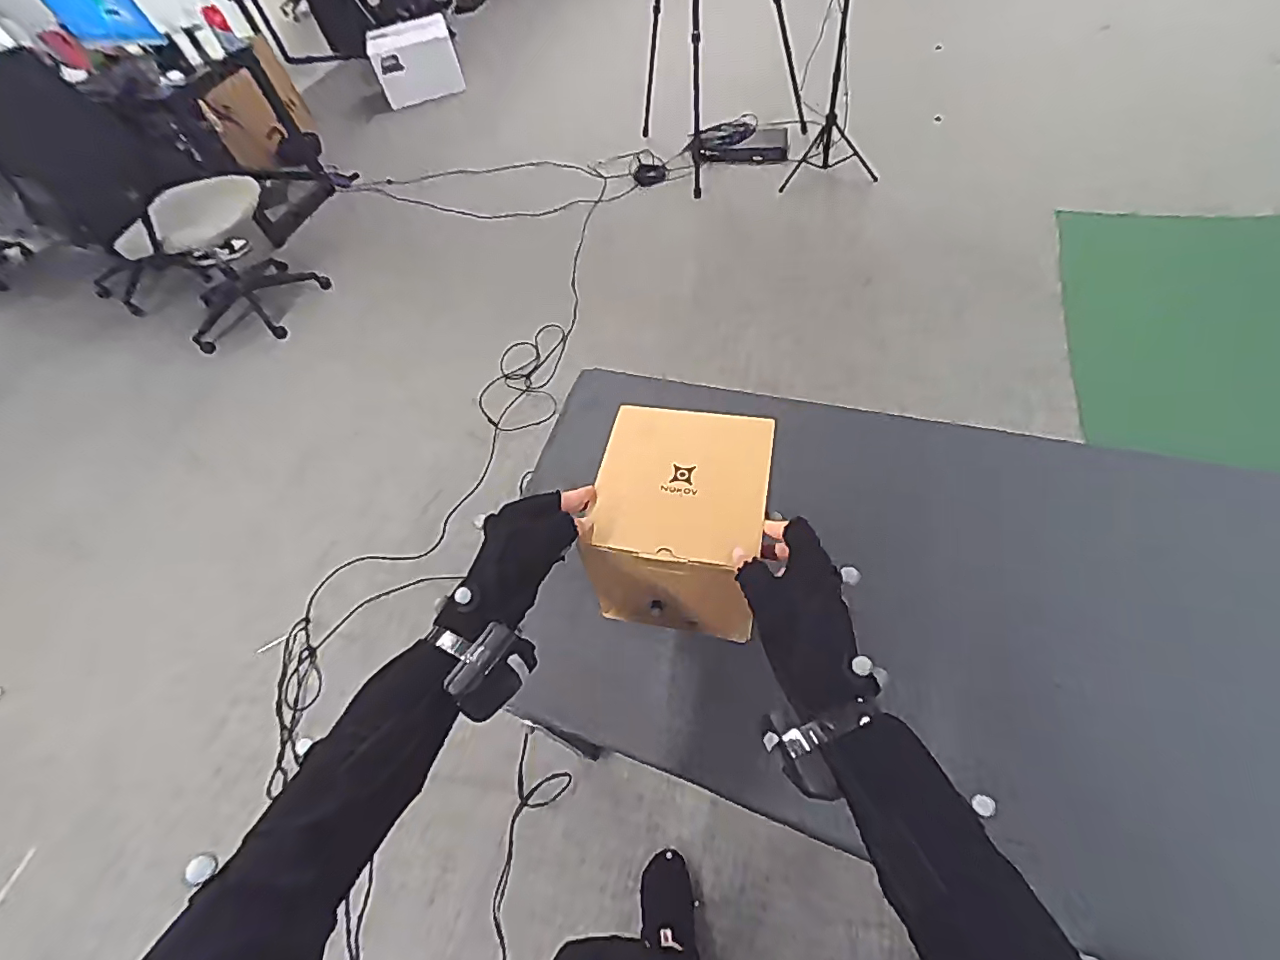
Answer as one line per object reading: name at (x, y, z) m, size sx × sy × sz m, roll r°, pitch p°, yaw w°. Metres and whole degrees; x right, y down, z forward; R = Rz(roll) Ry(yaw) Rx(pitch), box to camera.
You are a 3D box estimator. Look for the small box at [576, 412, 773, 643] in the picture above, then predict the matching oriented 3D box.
small box at (0.045, 0.053, 0.587) m, size 0.168 × 0.176 × 0.179 m, roll 8°, pitch 55°, yaw 12°
